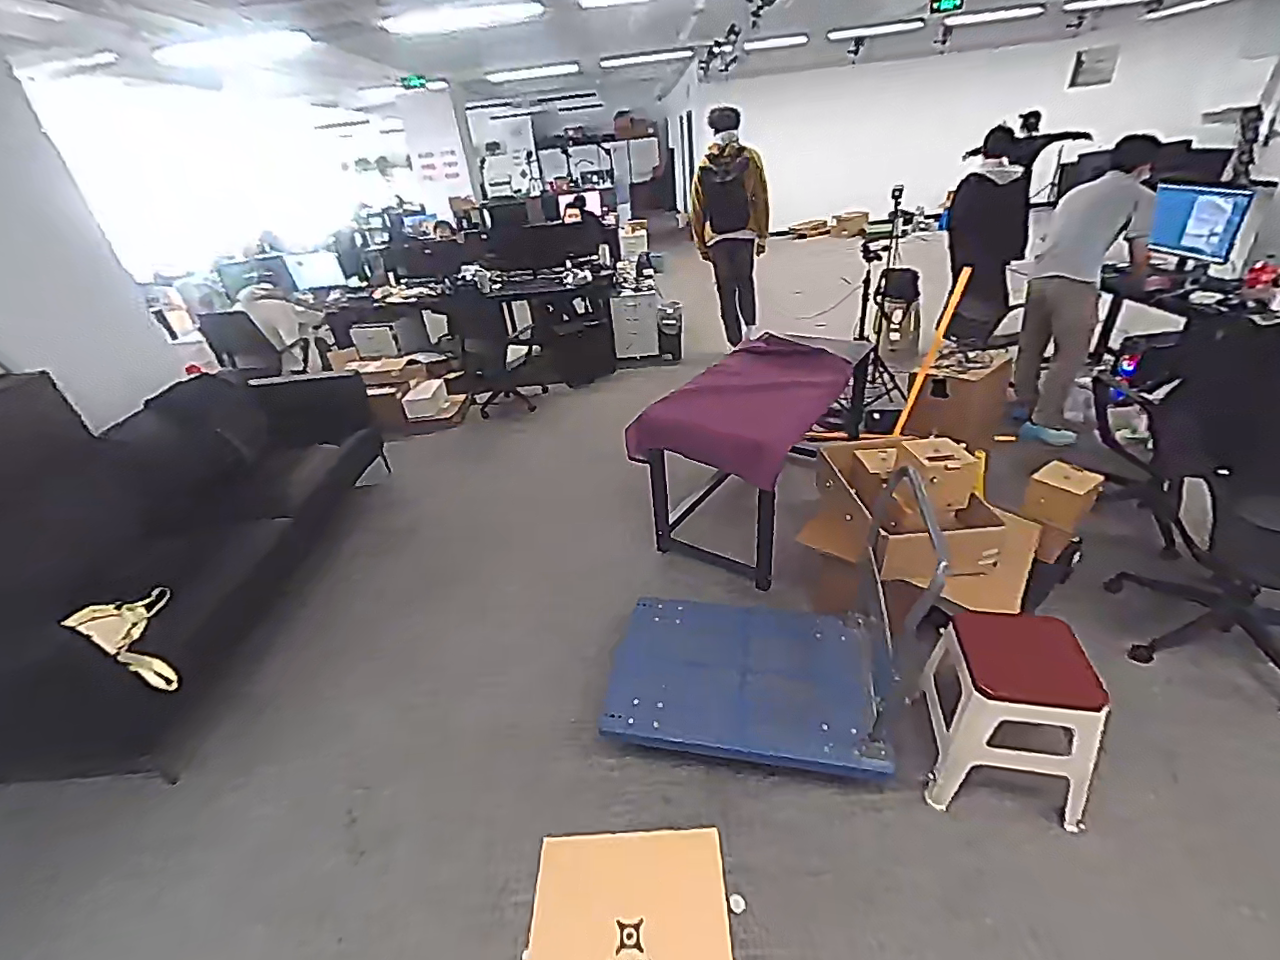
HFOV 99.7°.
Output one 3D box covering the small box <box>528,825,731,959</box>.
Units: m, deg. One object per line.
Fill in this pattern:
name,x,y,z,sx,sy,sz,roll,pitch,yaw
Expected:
small box,-0.002,0.445,0.486,0.168,0.176,0.179,-5,33,4
